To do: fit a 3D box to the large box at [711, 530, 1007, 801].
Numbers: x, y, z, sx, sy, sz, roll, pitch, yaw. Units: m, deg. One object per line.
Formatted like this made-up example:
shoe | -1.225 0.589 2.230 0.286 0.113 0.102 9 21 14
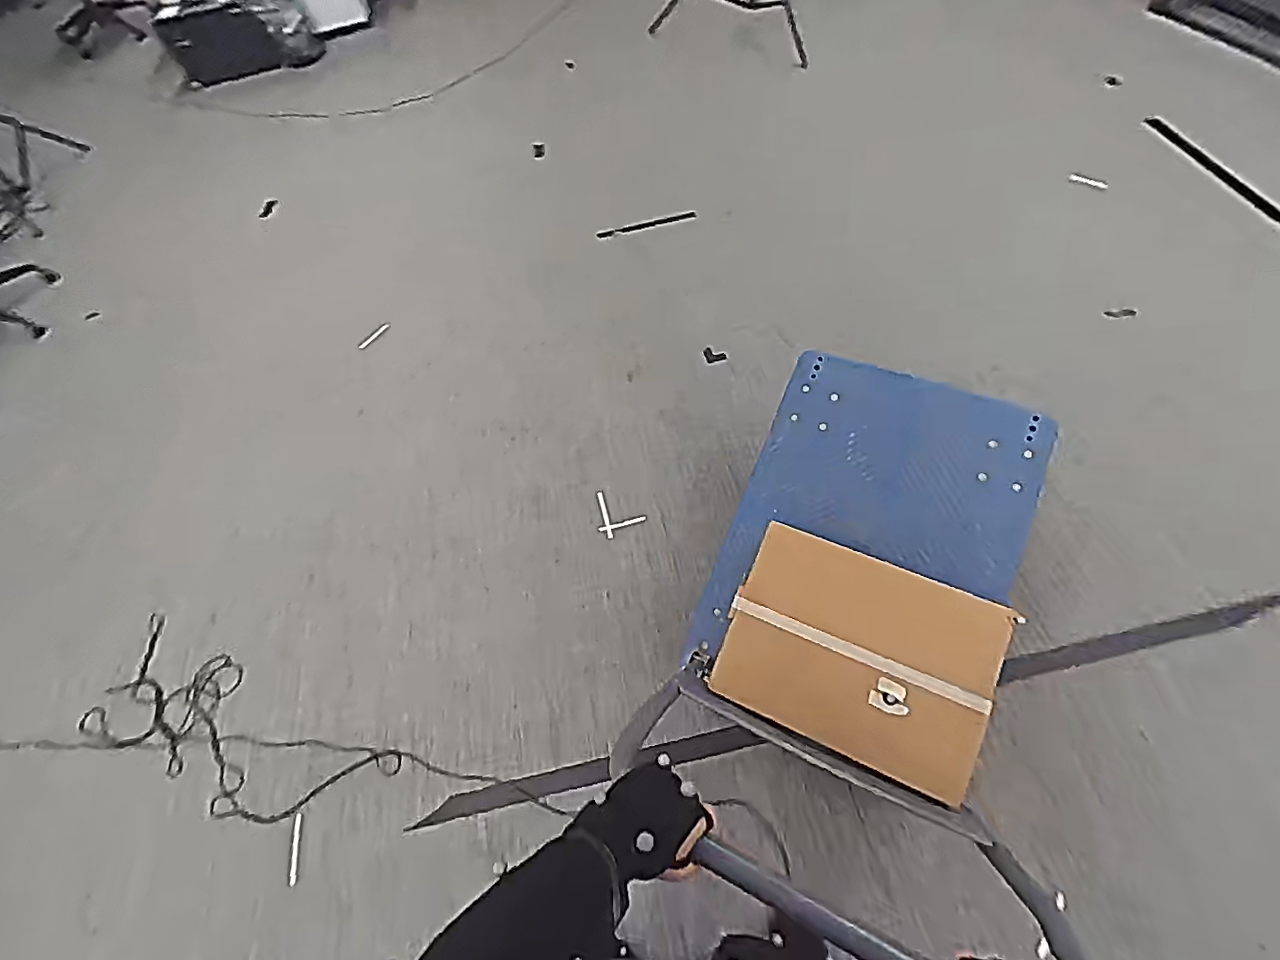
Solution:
large box | 0.382 0.326 1.036 0.408 0.320 0.320 20 81 16
